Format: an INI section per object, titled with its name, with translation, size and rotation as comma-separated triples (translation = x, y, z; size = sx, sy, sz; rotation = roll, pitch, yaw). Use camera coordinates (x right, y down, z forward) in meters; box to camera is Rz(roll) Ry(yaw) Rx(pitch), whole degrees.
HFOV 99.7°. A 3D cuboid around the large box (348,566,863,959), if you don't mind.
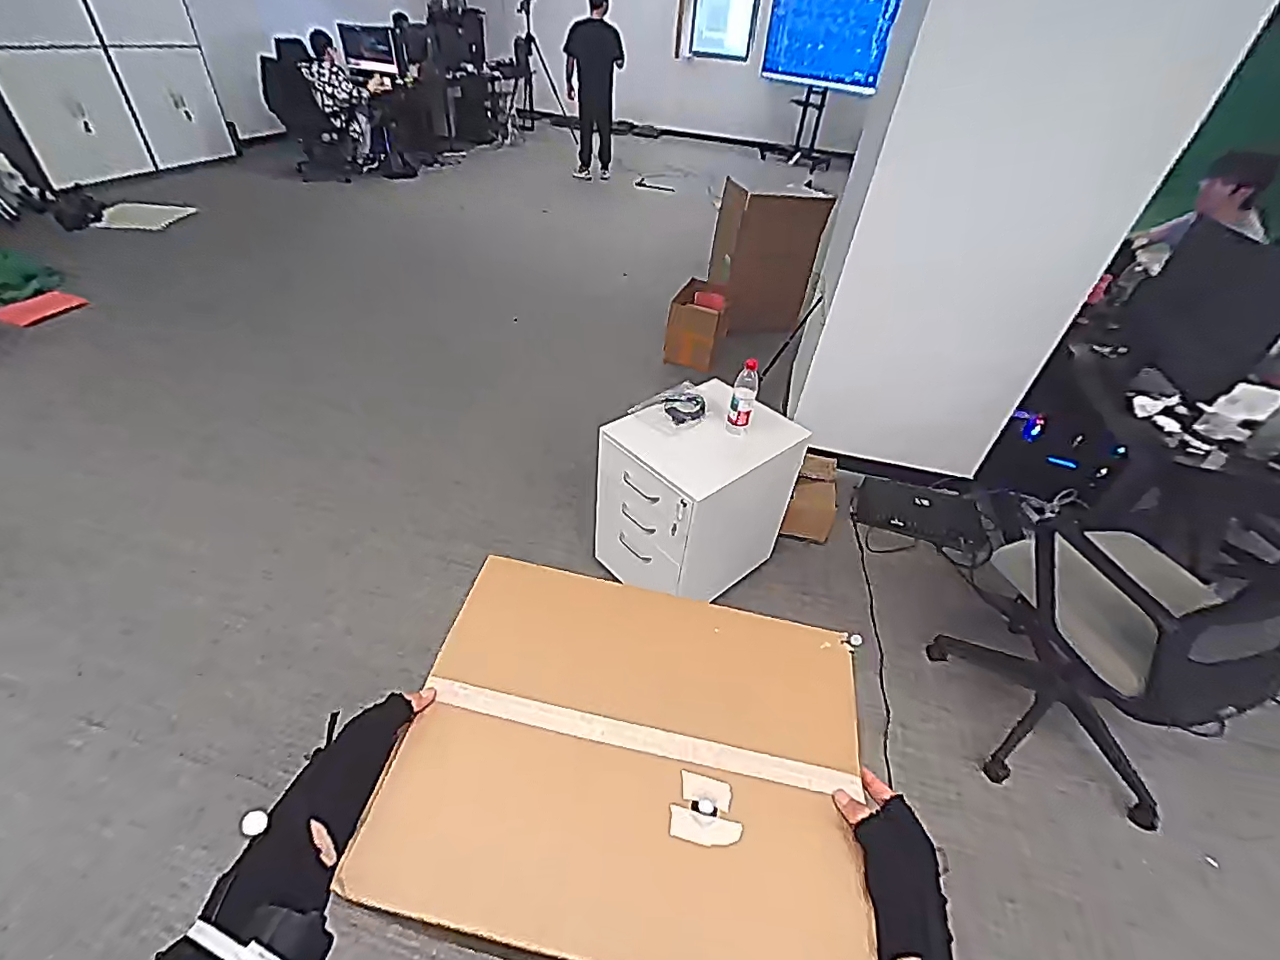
[large box]
translation = -0.020, 0.344, 0.608
size = 0.408, 0.320, 0.320
rotation = 12, 47, 4
